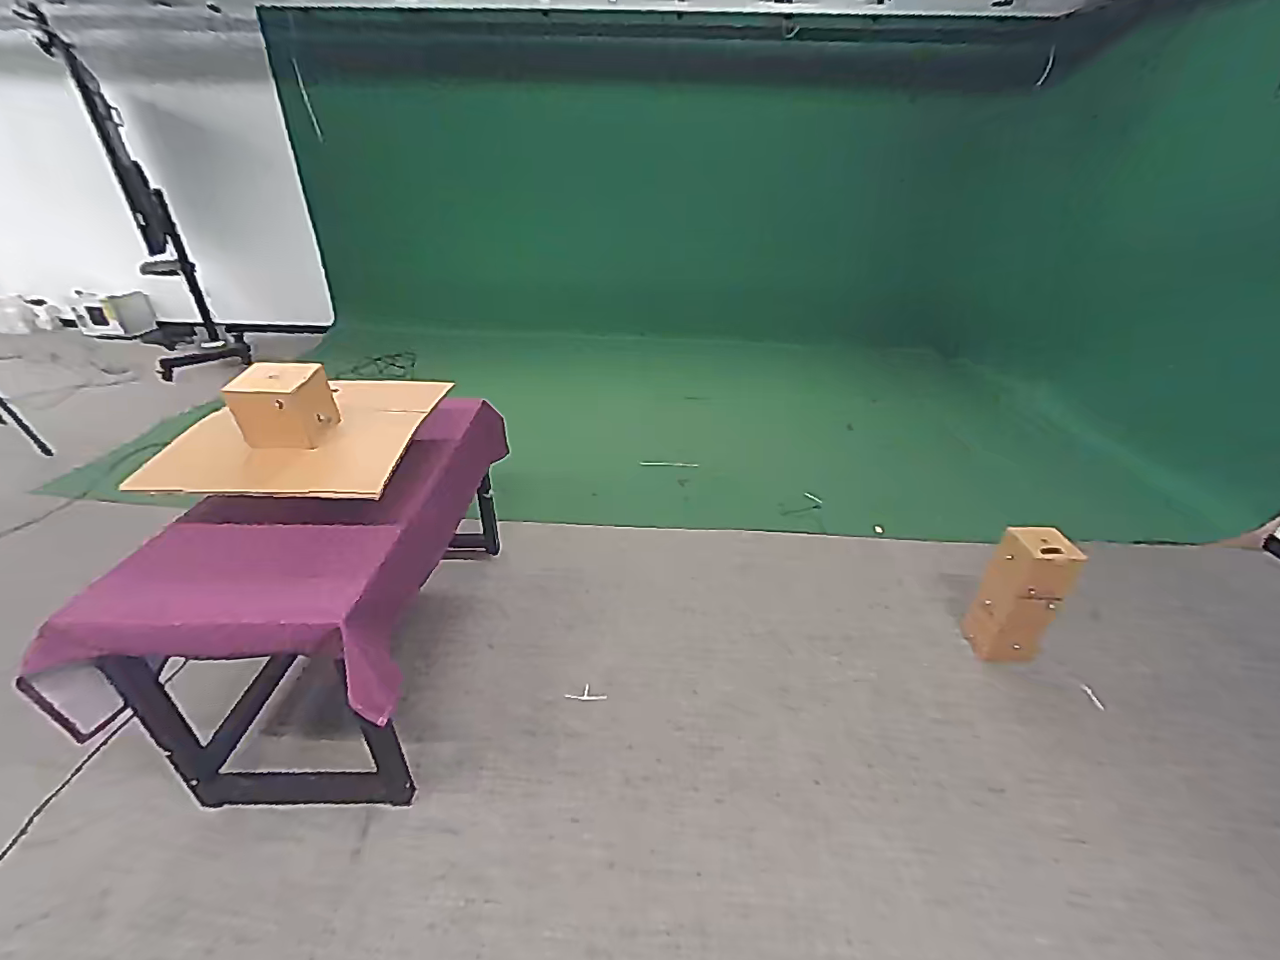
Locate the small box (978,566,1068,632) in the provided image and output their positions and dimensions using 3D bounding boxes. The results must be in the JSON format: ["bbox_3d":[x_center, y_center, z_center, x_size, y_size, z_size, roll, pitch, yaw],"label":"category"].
[{"bbox_3d":[1.350,0.422,1.920,0.179,0.176,0.168,-1,30,-1],"label":"small box"}]

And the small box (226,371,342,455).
[{"bbox_3d":[-0.936,-0.178,1.440,0.179,0.176,0.168,1,37,-2],"label":"small box"}]

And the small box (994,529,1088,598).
[{"bbox_3d":[1.346,0.284,1.830,0.168,0.176,0.179,1,30,1],"label":"small box"}]
